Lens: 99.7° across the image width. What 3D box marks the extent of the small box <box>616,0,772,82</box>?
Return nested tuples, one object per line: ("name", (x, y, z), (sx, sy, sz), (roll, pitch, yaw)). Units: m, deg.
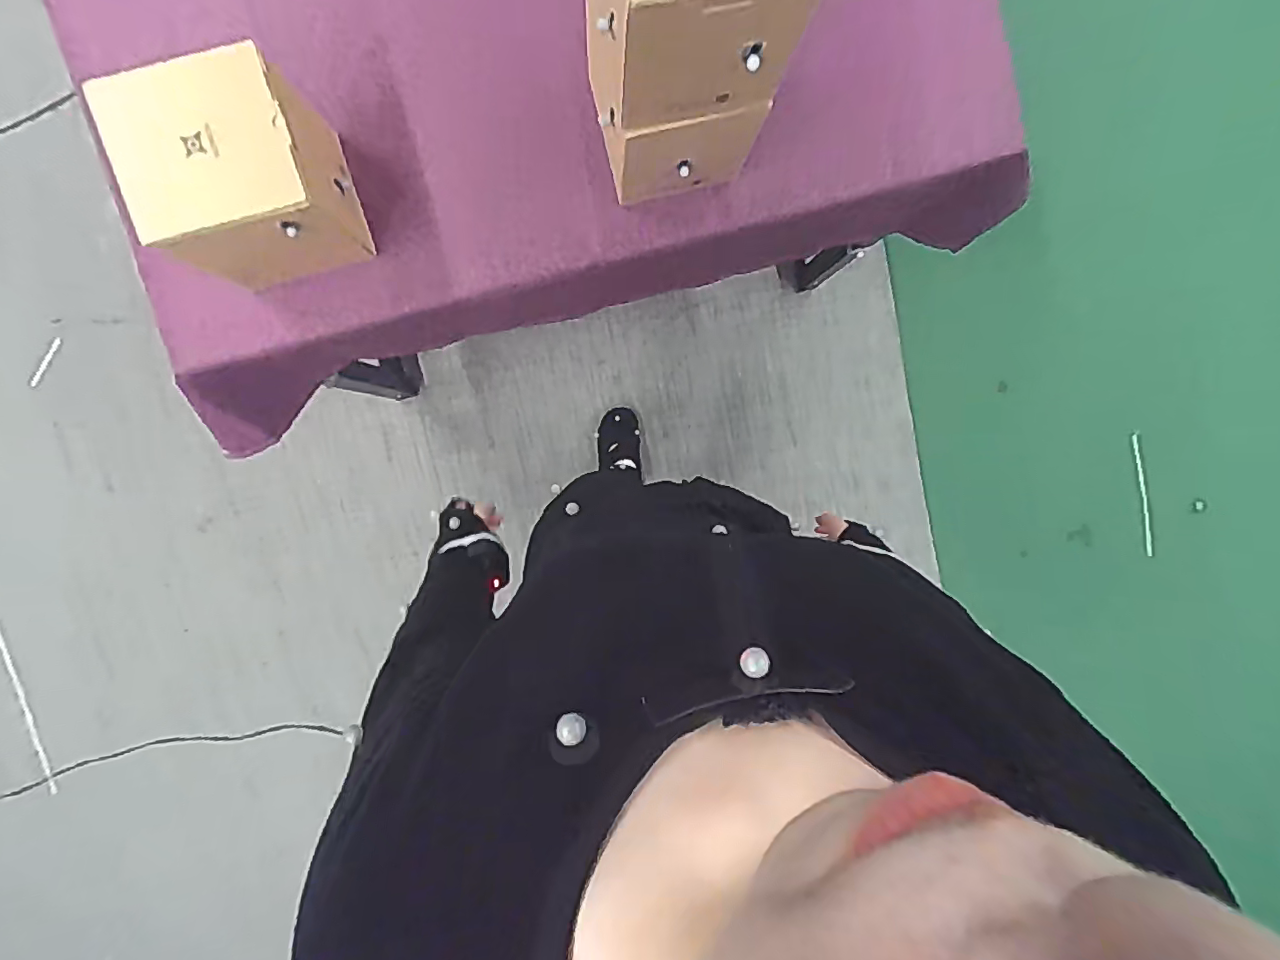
("small box", (0.058, -0.603, 0.629), (0.168, 0.176, 0.179), (-10, 94, -3))
